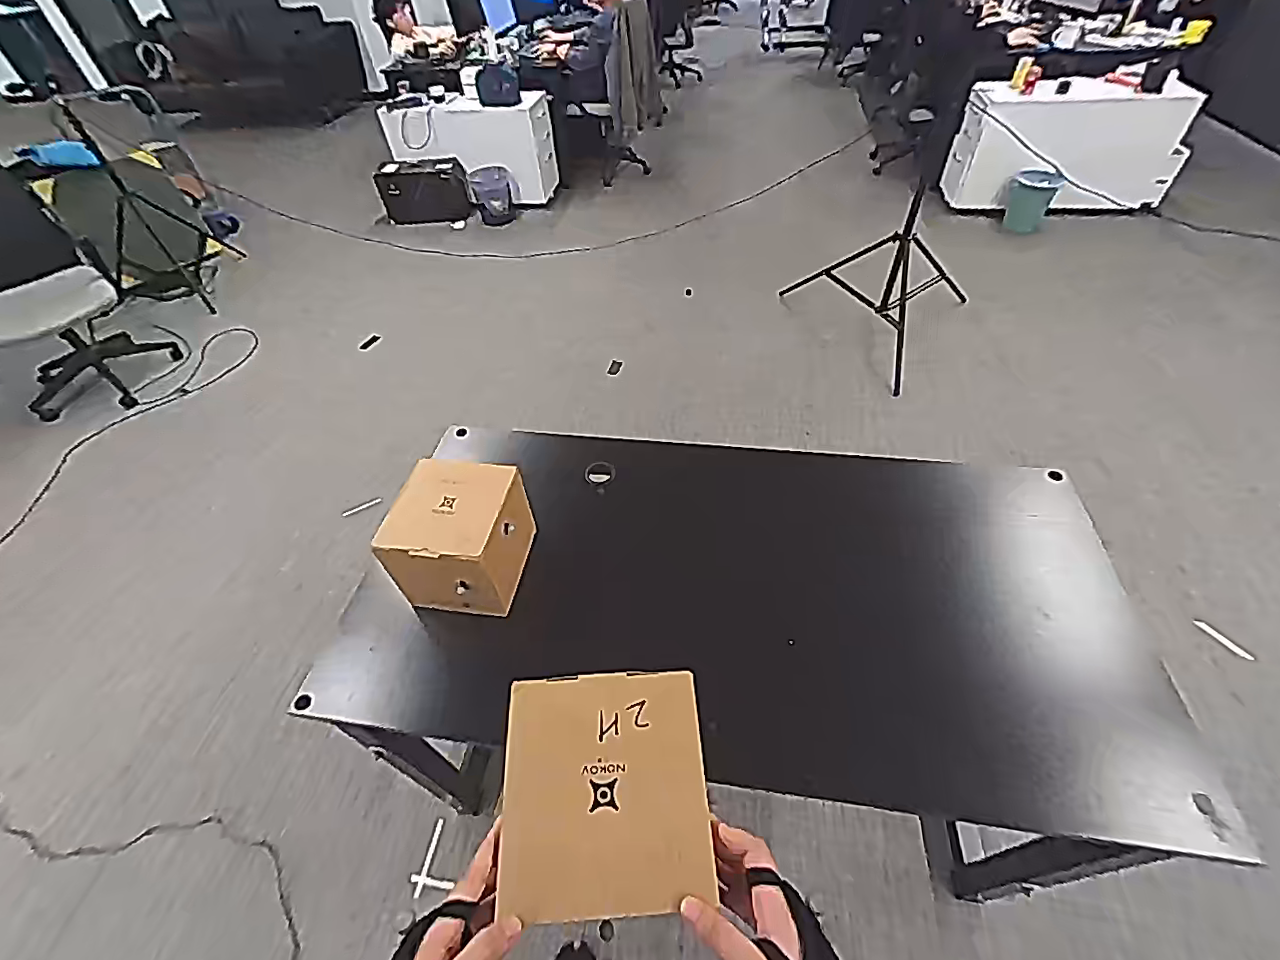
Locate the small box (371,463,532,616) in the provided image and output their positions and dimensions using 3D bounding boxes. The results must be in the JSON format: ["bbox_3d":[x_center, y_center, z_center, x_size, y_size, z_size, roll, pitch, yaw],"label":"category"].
[{"bbox_3d":[-0.281,0.096,0.857,0.168,0.176,0.179,5,47,7],"label":"small box"}]

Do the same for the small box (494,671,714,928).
[{"bbox_3d":[-0.029,0.297,0.505,0.168,0.176,0.179,-3,52,-2],"label":"small box"}]
